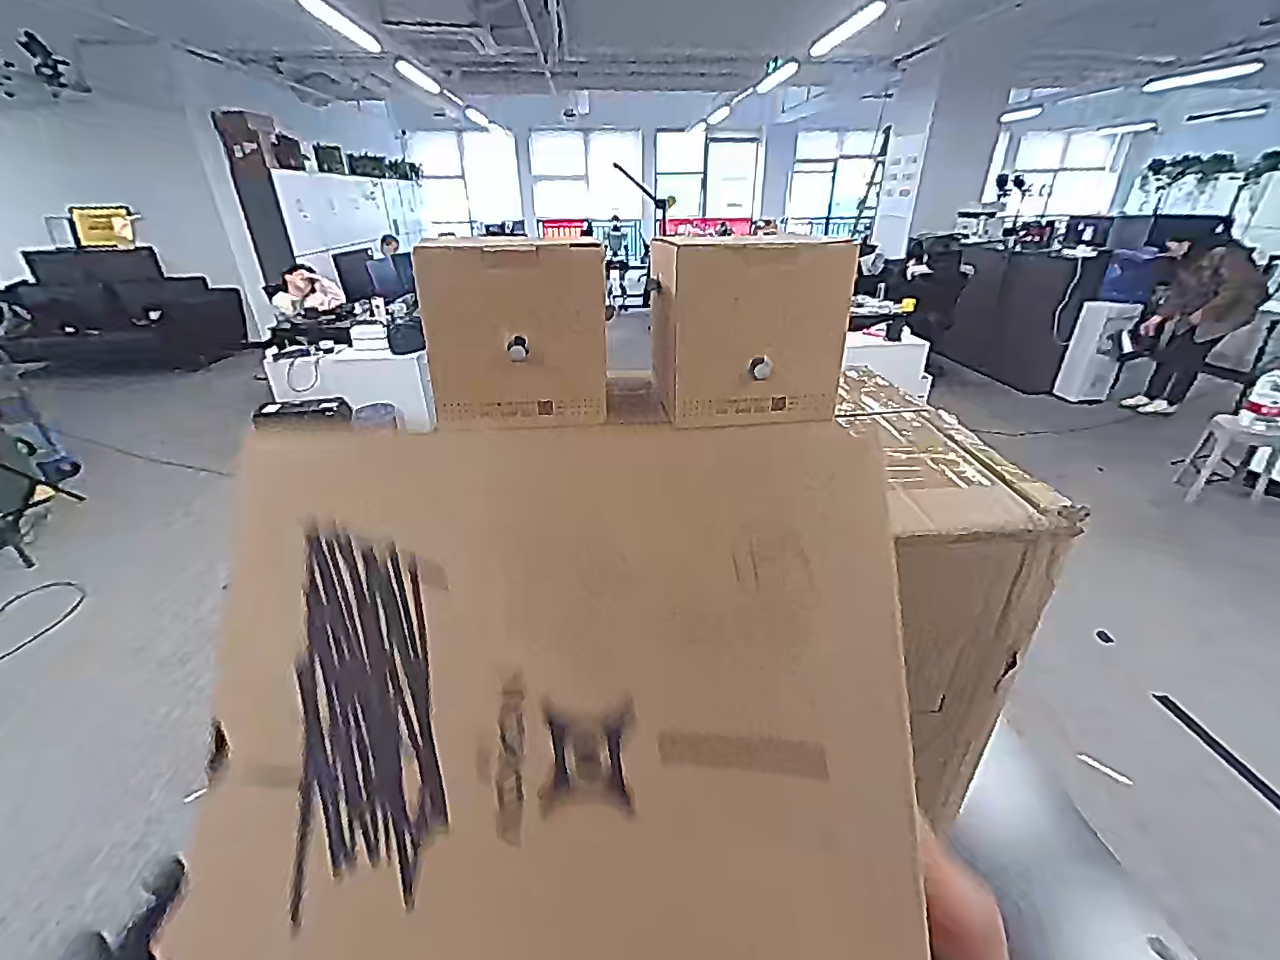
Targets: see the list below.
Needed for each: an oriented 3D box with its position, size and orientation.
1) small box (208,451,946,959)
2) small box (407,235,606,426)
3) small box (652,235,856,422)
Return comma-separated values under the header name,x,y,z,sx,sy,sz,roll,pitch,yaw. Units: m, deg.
name,x,y,z,sx,sy,sz,roll,pitch,yaw
small box,-0.012,0.088,0.211,0.179,0.168,0.176,0,-10,3
small box,-0.125,-0.160,0.569,0.168,0.176,0.179,-4,27,-8
small box,0.102,-0.167,0.576,0.168,0.176,0.179,-4,26,-5
